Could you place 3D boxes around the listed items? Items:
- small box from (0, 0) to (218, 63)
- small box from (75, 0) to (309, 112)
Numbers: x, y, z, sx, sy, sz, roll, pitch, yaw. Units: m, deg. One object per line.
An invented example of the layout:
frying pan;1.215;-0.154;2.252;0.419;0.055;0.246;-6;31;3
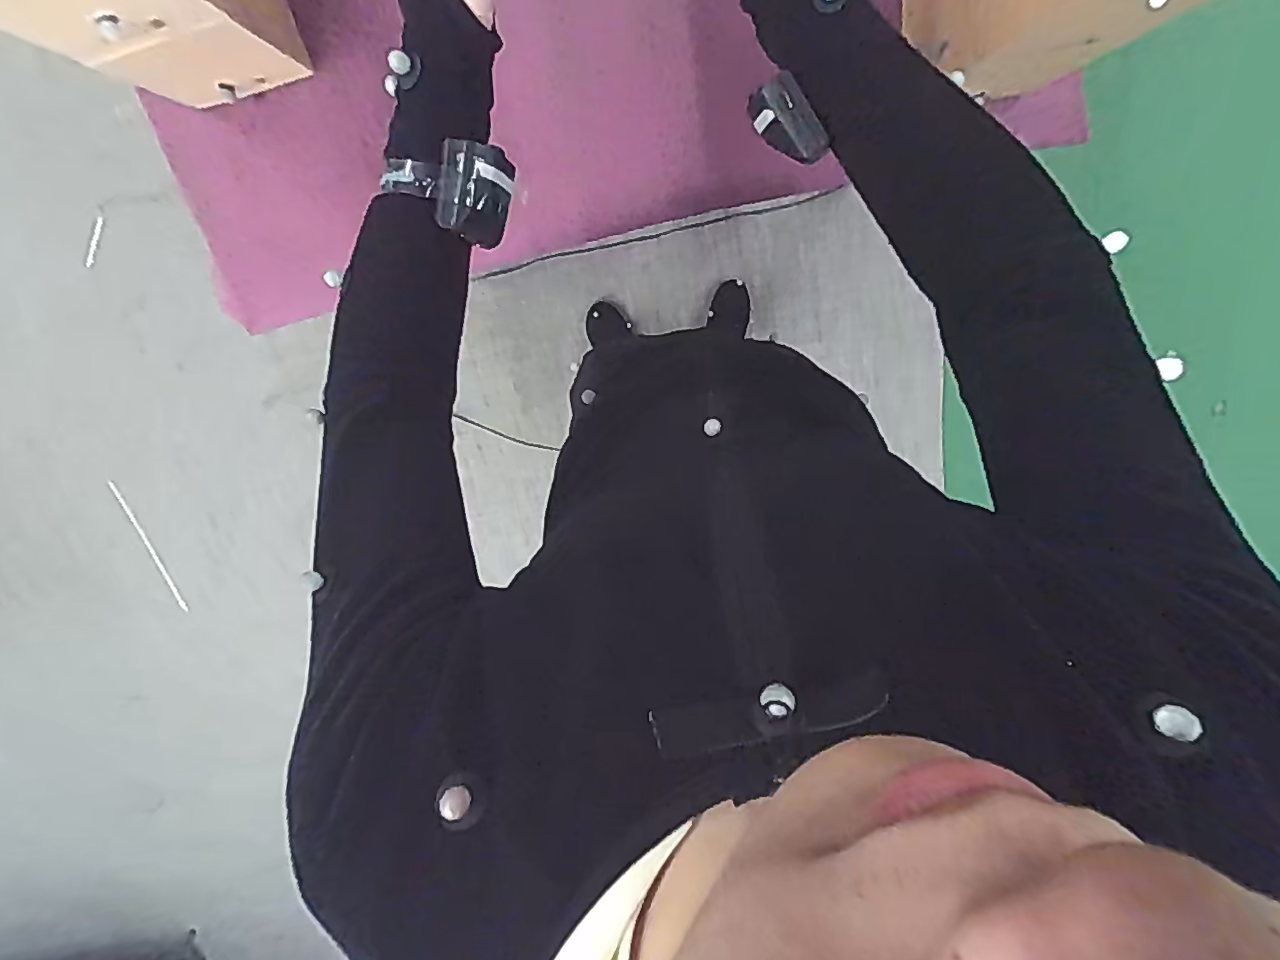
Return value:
small box;-0.518;-0.496;0.448;0.168;0.176;0.179;-14;110;5
small box;-0.521;-0.551;0.602;0.168;0.176;0.179;-14;110;4
